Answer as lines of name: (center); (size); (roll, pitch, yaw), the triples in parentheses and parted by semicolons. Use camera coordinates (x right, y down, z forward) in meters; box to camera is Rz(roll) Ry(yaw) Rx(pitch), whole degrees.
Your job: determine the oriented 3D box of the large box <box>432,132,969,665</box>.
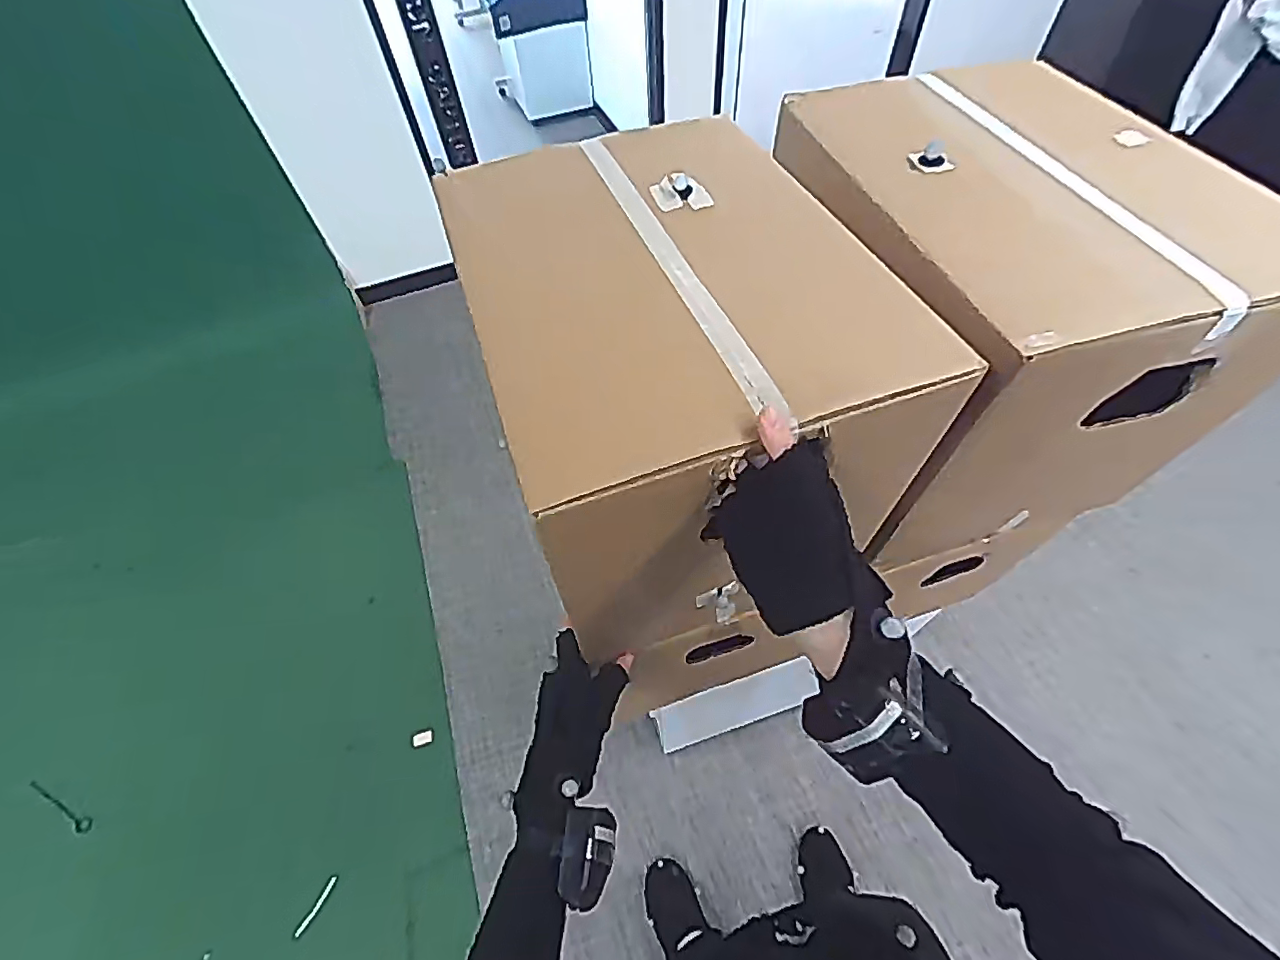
large box: (0.017, -0.089, 0.562); (0.320, 0.320, 0.408); (-17, 55, -11)
